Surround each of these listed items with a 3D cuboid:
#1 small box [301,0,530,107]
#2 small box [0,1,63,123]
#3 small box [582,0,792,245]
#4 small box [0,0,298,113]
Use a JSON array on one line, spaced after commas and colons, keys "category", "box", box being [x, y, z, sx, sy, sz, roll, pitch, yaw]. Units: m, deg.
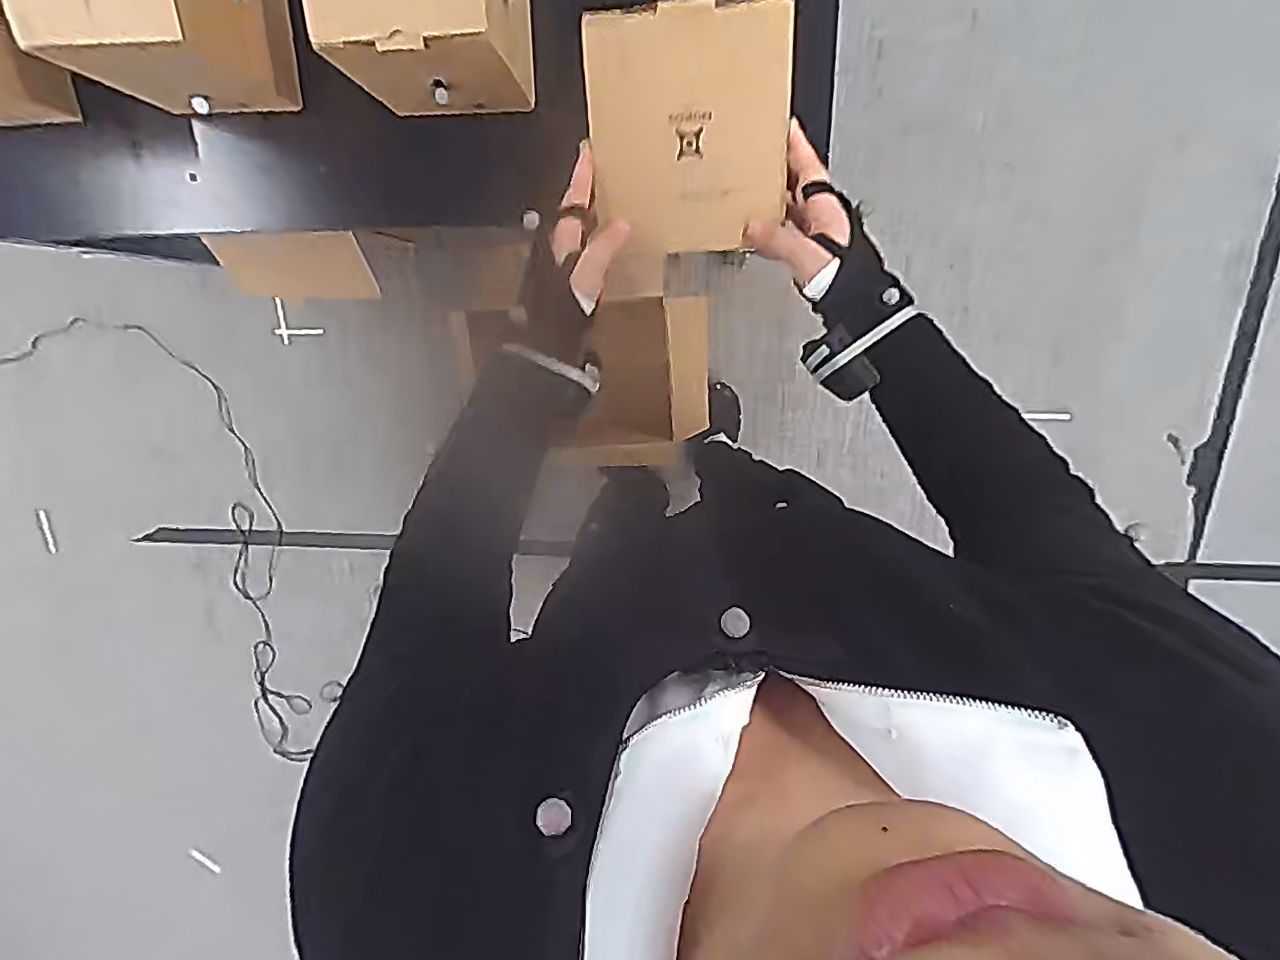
[{"category": "small box", "box": [-0.211, -0.492, 0.533, 0.168, 0.176, 0.179, 0, 106, 3]}, {"category": "small box", "box": [-0.771, -0.493, 0.562, 0.179, 0.176, 0.168, -1, 105, 3]}, {"category": "small box", "box": [0.041, -0.325, 0.519, 0.168, 0.176, 0.179, -3, 114, 3]}, {"category": "small box", "box": [-0.487, -0.502, 0.545, 0.168, 0.176, 0.179, 1, 106, 3]}]
